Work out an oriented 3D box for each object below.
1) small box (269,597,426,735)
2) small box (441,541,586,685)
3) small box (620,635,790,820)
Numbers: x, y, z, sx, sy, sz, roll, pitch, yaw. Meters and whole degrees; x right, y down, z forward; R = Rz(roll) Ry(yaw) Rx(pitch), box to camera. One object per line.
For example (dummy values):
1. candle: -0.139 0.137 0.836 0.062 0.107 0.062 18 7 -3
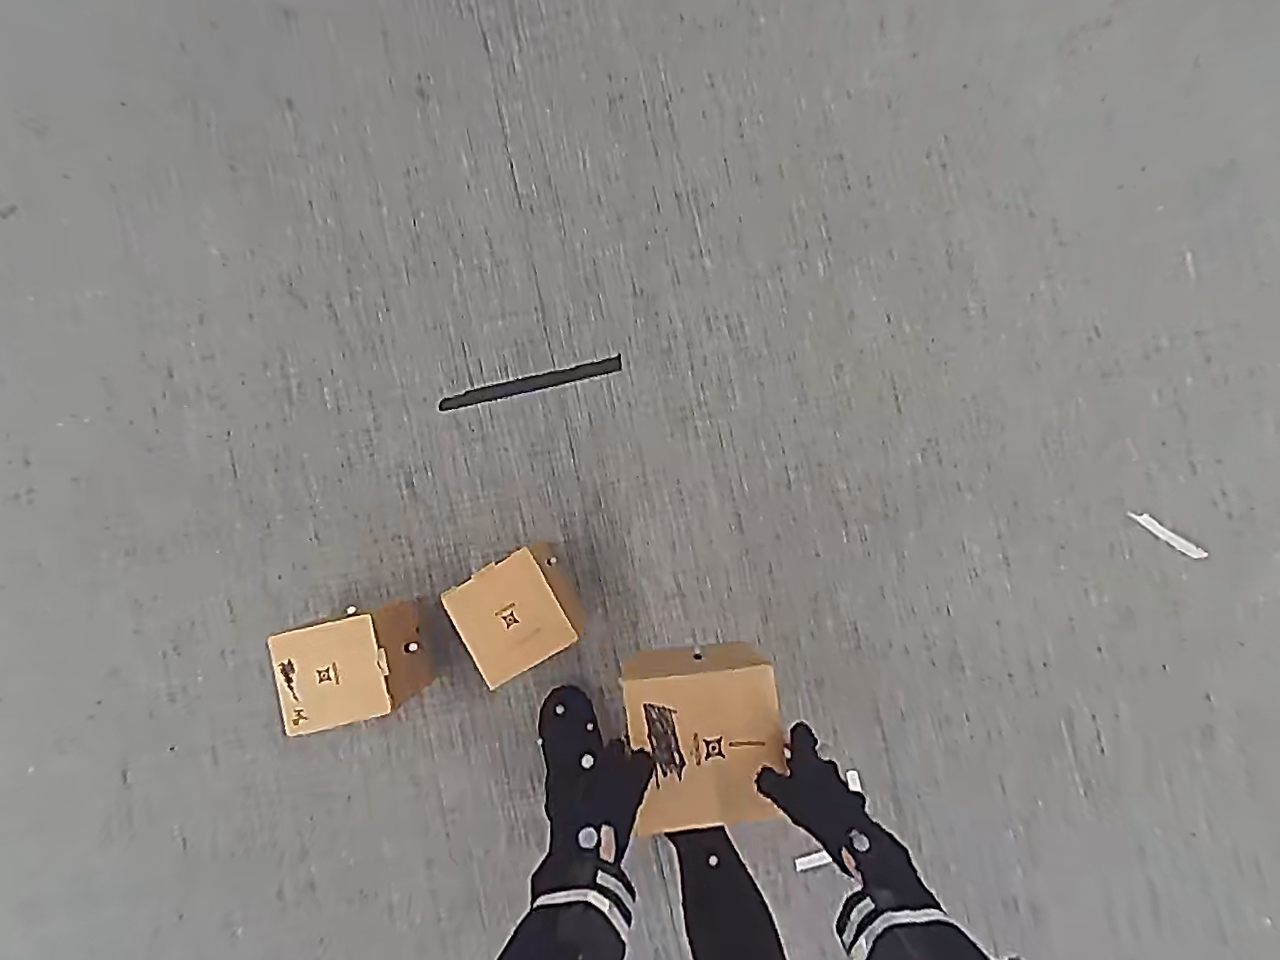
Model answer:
1. small box: -0.492 0.312 0.941 0.179 0.176 0.168 -13 87 -1
2. small box: -0.210 0.219 0.946 0.168 0.176 0.179 -31 88 -1
3. small box: 0.072 0.296 0.680 0.179 0.176 0.168 -6 82 -1
